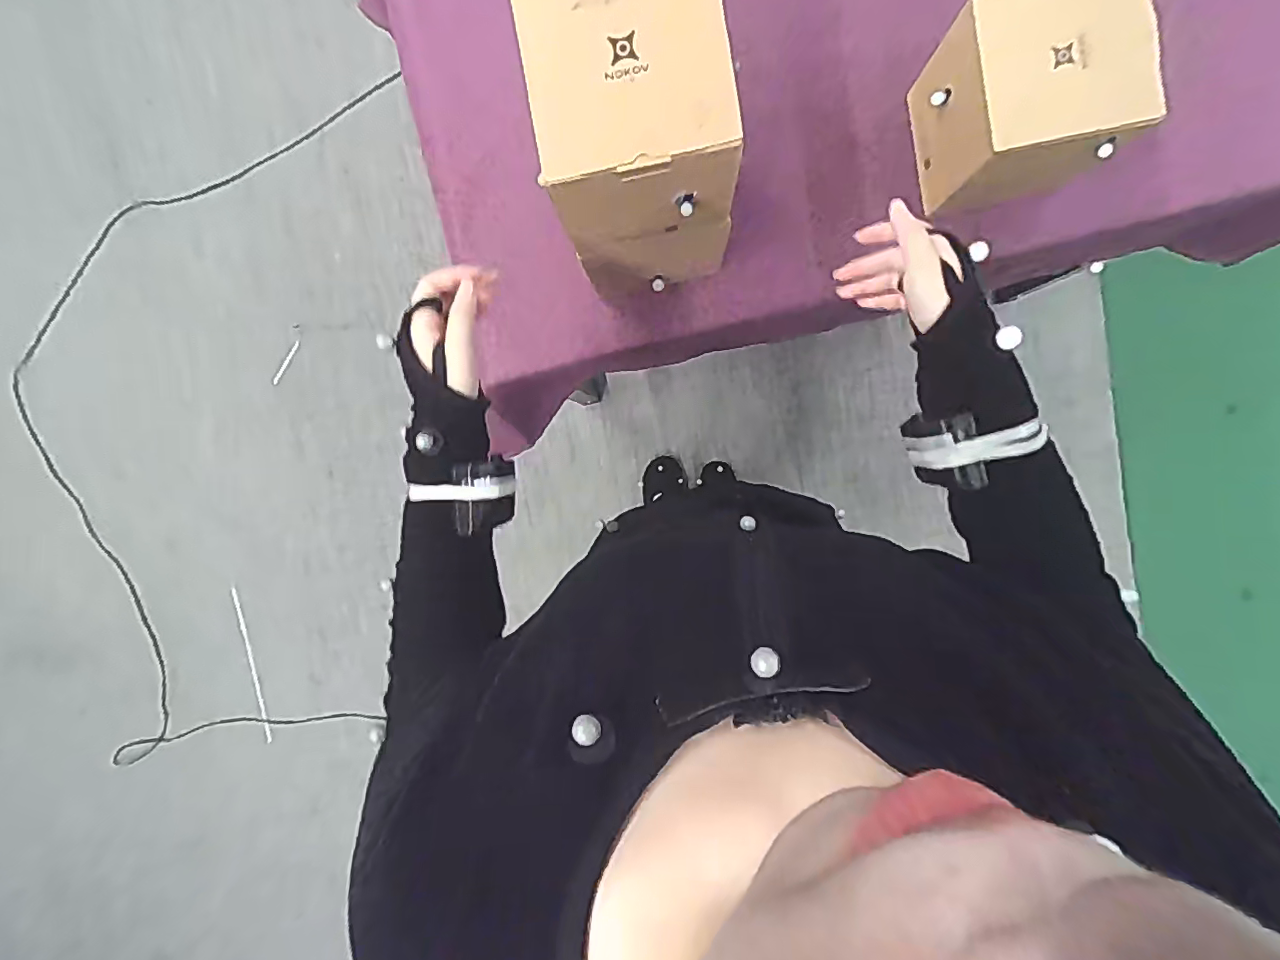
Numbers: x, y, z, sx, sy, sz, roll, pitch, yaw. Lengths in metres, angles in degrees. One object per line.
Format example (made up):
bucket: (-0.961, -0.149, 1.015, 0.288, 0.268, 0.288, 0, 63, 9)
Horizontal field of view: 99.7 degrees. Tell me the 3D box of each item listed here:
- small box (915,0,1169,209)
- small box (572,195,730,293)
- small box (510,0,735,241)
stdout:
small box: (0.444, -0.443, 0.631, 0.179, 0.176, 0.168, -10, 93, 4)
small box: (0.004, -0.350, 0.671, 0.179, 0.176, 0.168, -11, 93, 4)
small box: (-0.009, -0.344, 0.507, 0.168, 0.176, 0.179, -9, 92, 5)
